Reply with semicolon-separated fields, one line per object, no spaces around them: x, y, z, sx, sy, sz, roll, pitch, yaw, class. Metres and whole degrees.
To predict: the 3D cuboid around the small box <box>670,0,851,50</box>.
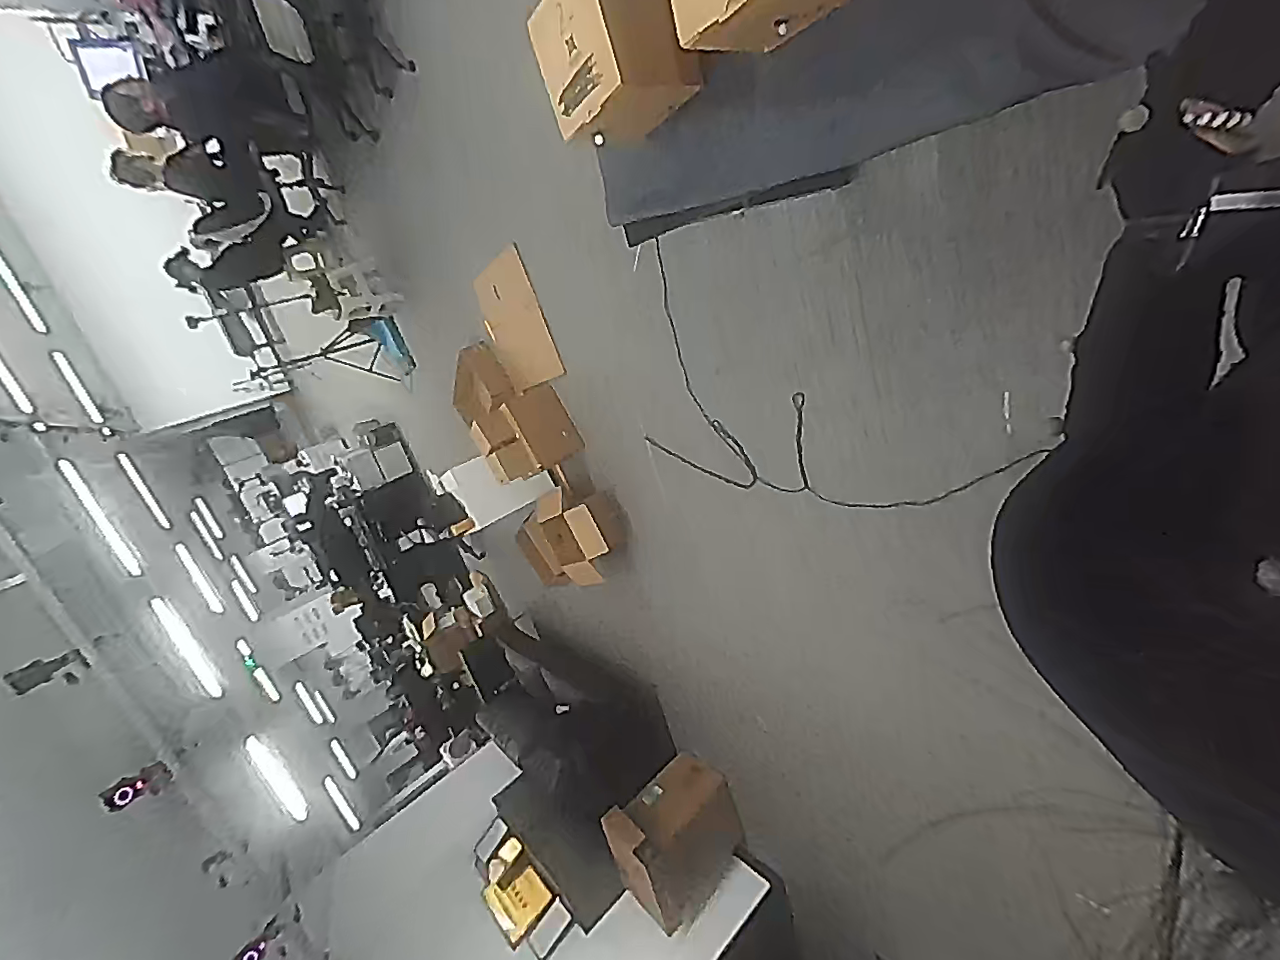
0.139;-0.625;0.610;0.168;0.176;0.179;8;121;50;small box
